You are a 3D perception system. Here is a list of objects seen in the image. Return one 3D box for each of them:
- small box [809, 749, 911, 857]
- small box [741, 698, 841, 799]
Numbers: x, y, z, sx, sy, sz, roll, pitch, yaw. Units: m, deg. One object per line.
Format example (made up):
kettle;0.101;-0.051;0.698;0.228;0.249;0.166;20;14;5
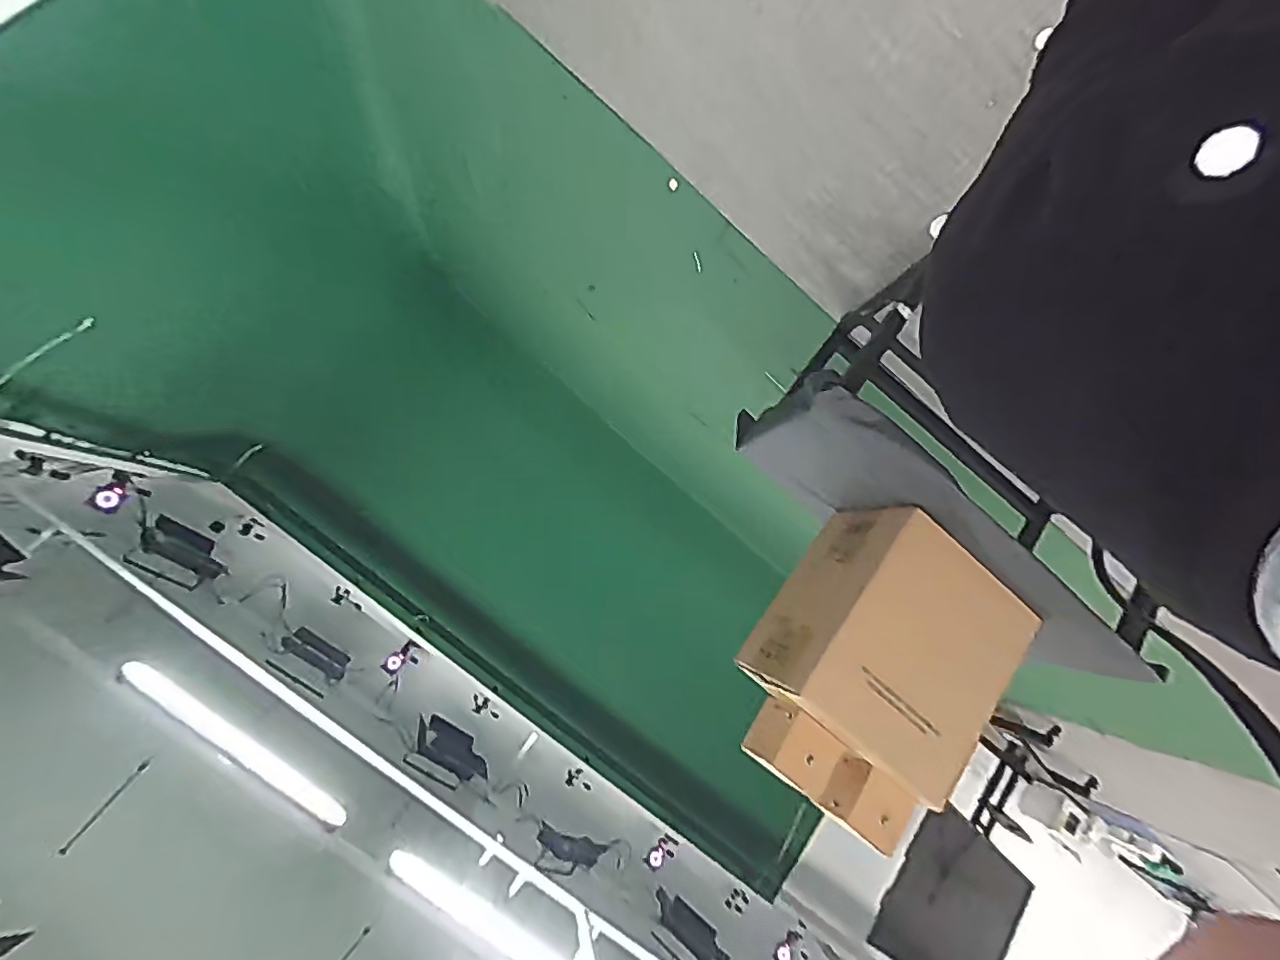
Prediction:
small box;0.626;0.907;1.535;0.179;0.176;0.168;40;161;-8
small box;0.425;0.746;1.523;0.179;0.176;0.168;40;161;-8
